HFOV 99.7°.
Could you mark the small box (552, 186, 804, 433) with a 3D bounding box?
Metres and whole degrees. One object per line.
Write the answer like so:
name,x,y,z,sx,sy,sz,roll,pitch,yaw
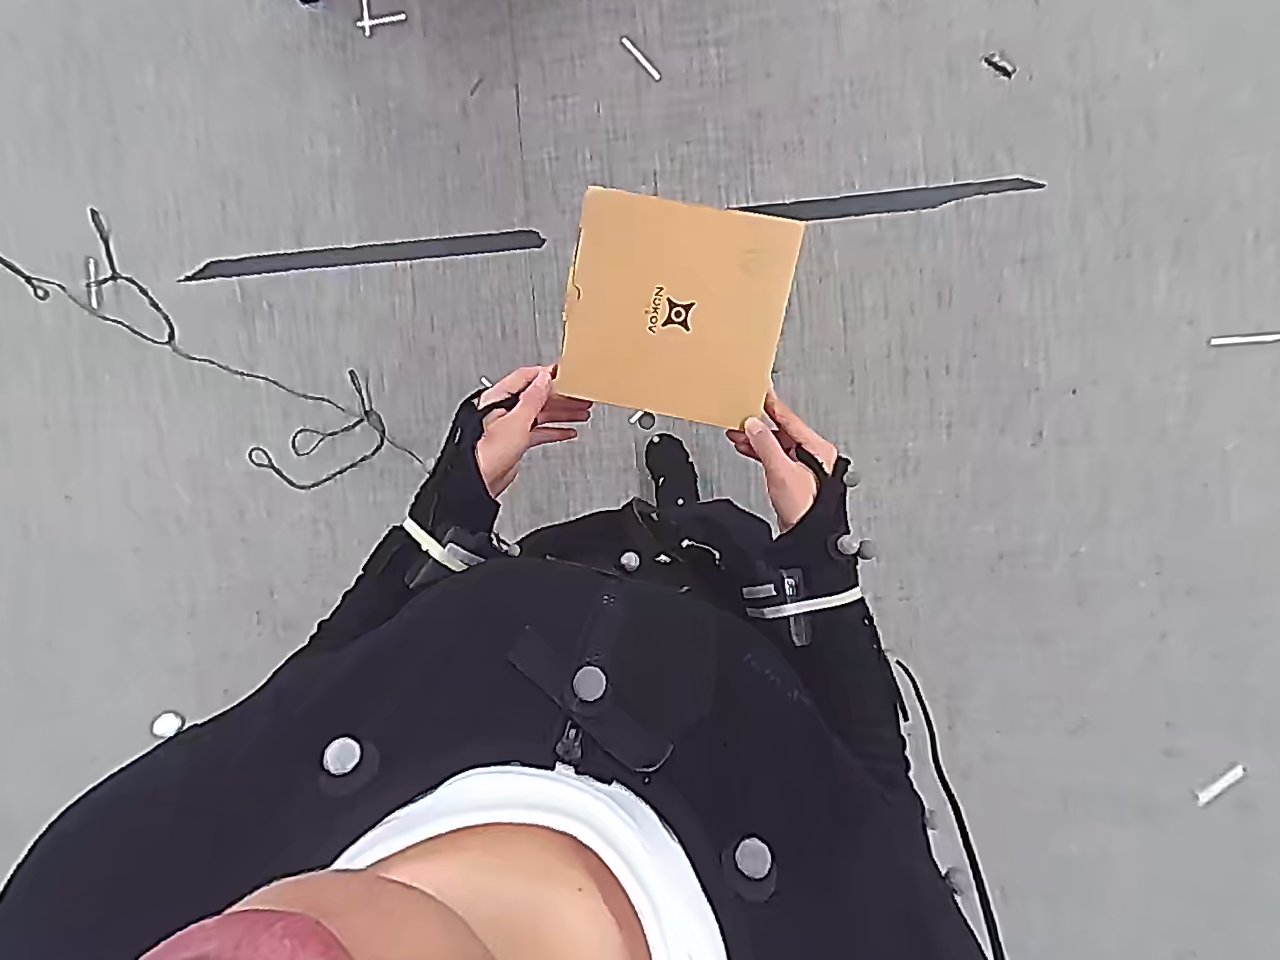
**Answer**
small box,0.035,-0.148,0.505,0.179,0.176,0.168,12,102,6
